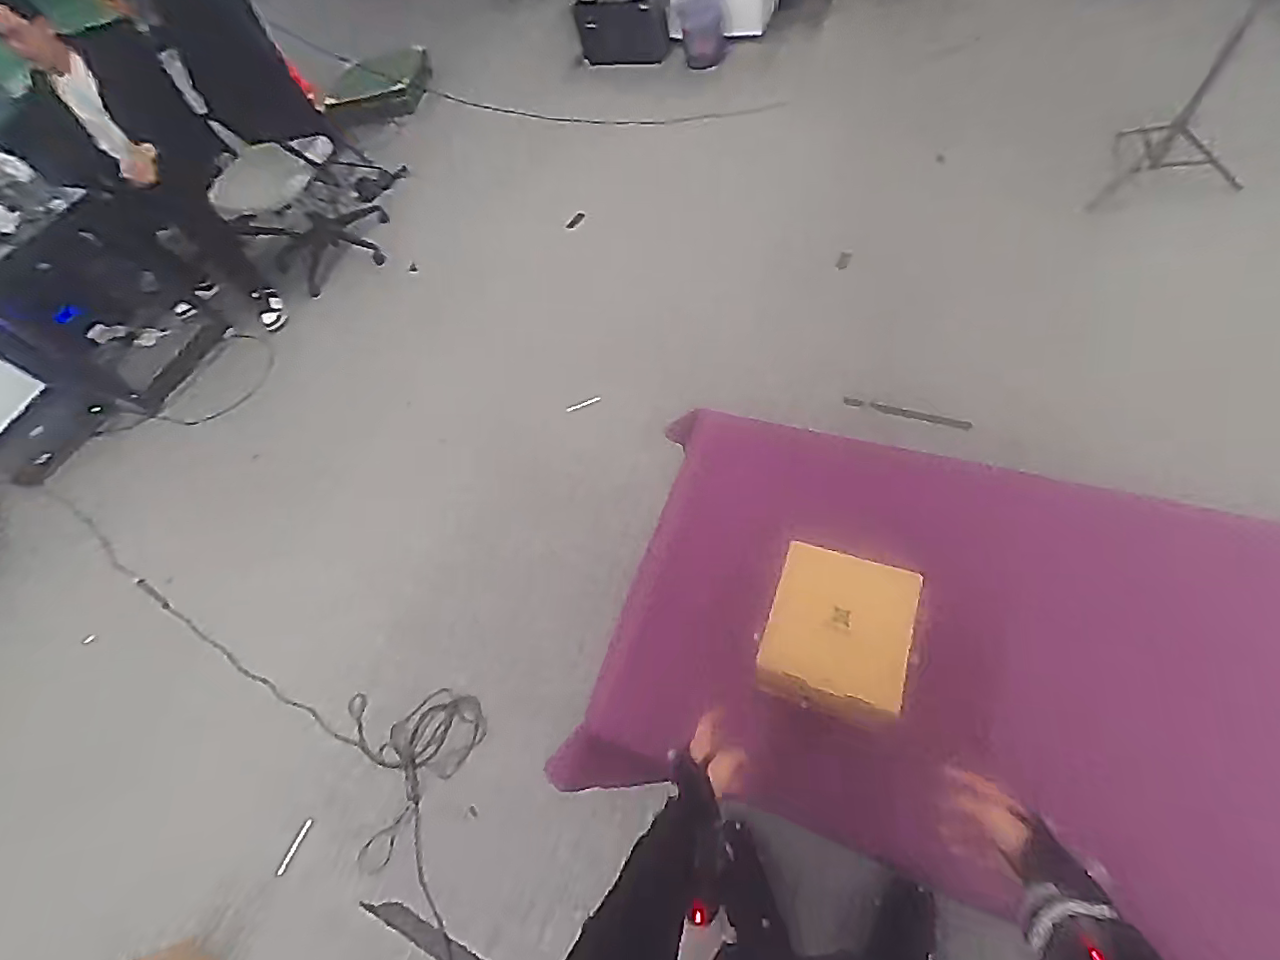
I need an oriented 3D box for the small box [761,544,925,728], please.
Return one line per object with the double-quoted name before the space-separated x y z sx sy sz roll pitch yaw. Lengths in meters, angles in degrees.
"small box" 0.265 0.215 0.735 0.168 0.176 0.179 15 66 19
